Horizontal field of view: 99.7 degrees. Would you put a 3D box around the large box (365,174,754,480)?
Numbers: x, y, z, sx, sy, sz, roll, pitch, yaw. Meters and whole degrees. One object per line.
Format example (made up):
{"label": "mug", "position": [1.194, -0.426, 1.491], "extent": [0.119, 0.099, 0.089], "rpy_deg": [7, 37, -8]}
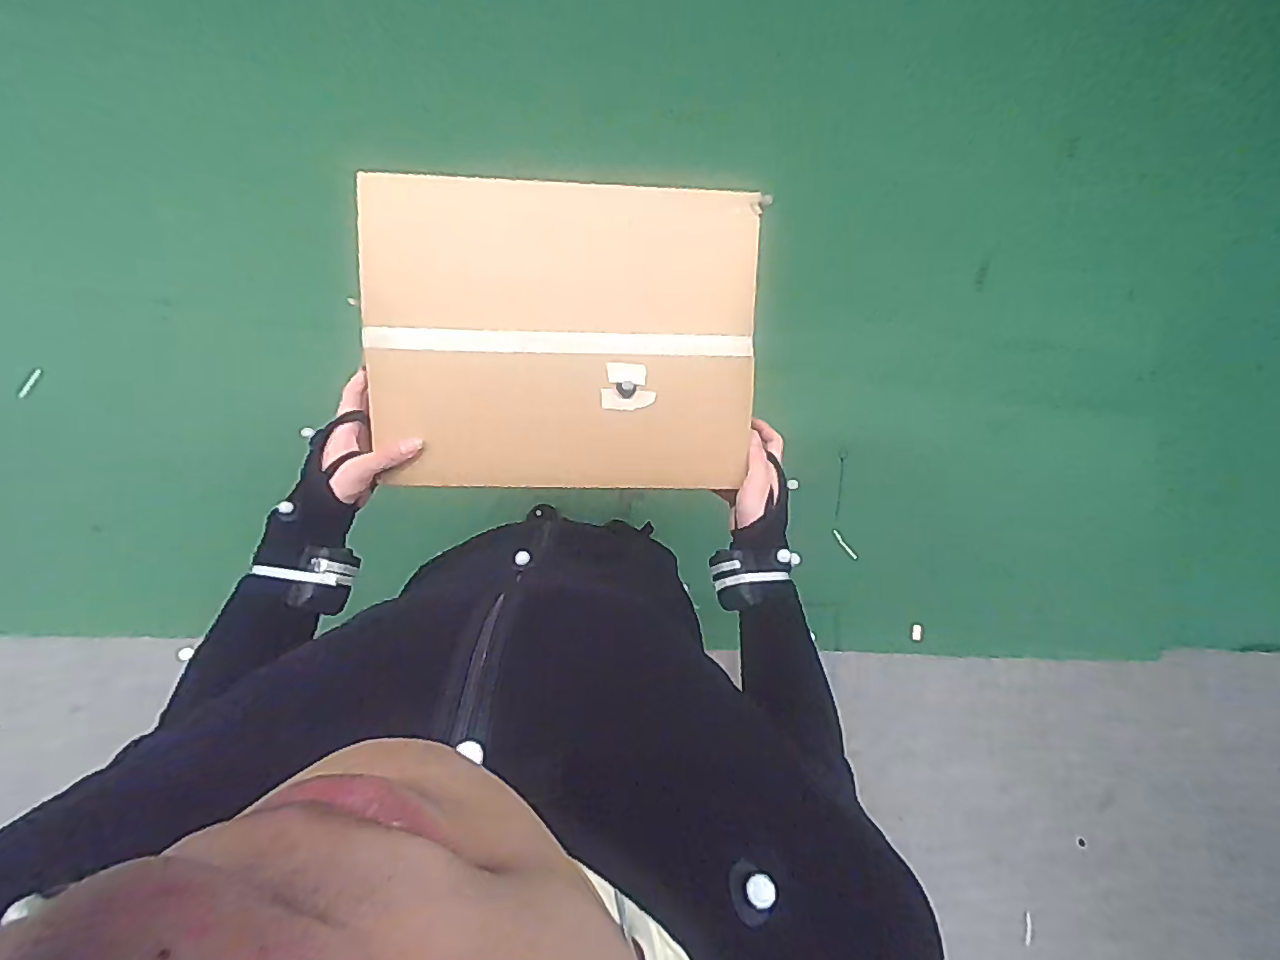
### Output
{"label": "large box", "position": [-0.092, -0.177, 0.723], "extent": [0.408, 0.320, 0.320], "rpy_deg": [0, 100, -5]}
